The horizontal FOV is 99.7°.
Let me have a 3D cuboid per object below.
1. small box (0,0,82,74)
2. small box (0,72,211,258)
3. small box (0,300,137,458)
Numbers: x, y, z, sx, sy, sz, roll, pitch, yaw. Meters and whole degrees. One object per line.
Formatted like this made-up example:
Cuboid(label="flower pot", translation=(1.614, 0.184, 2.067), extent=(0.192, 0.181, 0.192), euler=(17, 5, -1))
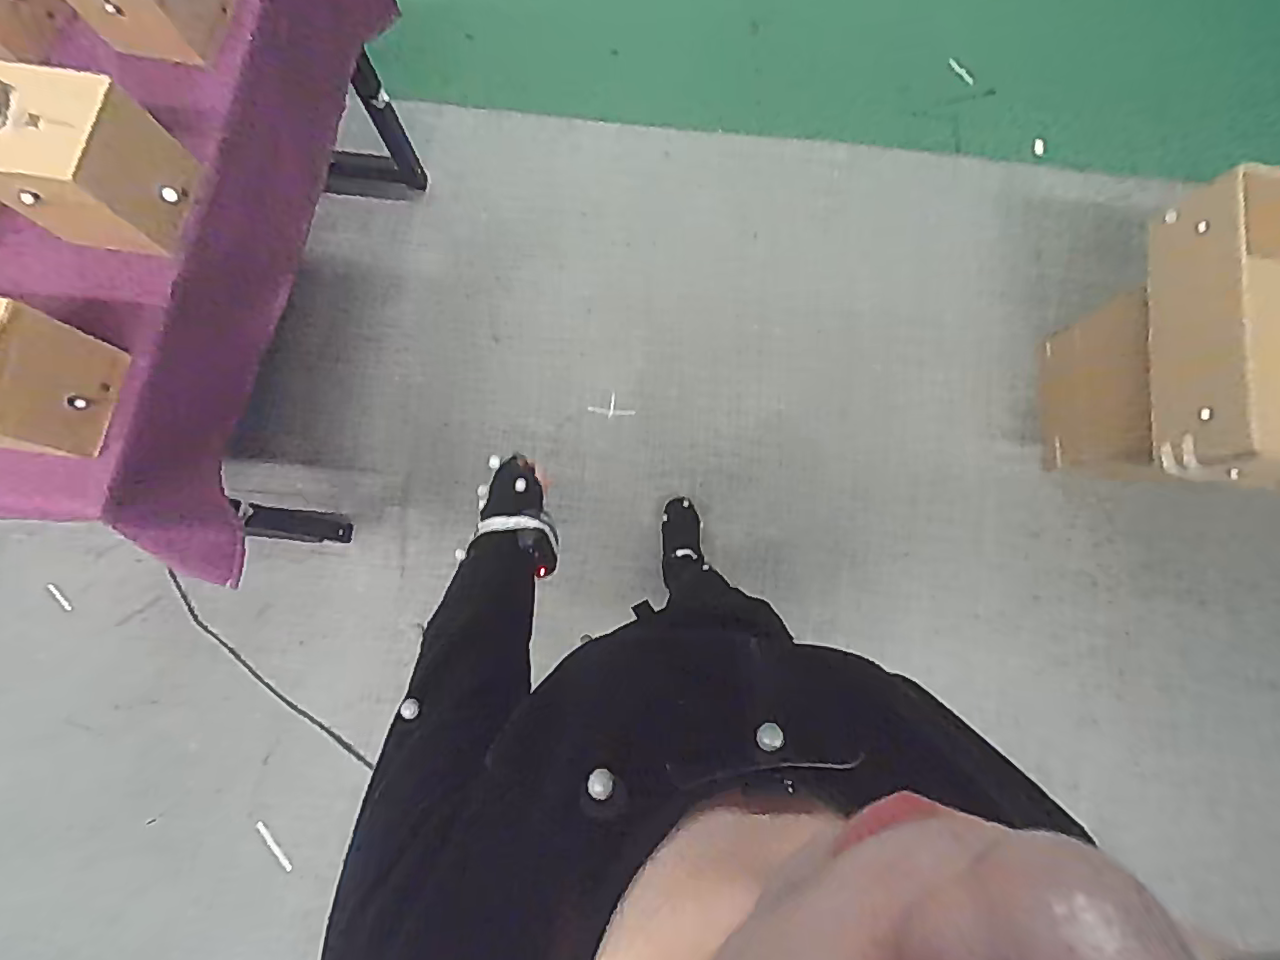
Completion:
Cuboid(label="small box", translation=(-1.085, -0.798, 0.873), extent=(0.179, 0.176, 0.168), euler=(13, 78, 1))
Cuboid(label="small box", translation=(-0.805, -0.455, 0.804), extent=(0.179, 0.176, 0.168), euler=(8, 79, 1))
Cuboid(label="small box", translation=(-0.865, -0.136, 0.738), extent=(0.179, 0.176, 0.168), euler=(7, 78, 1))
